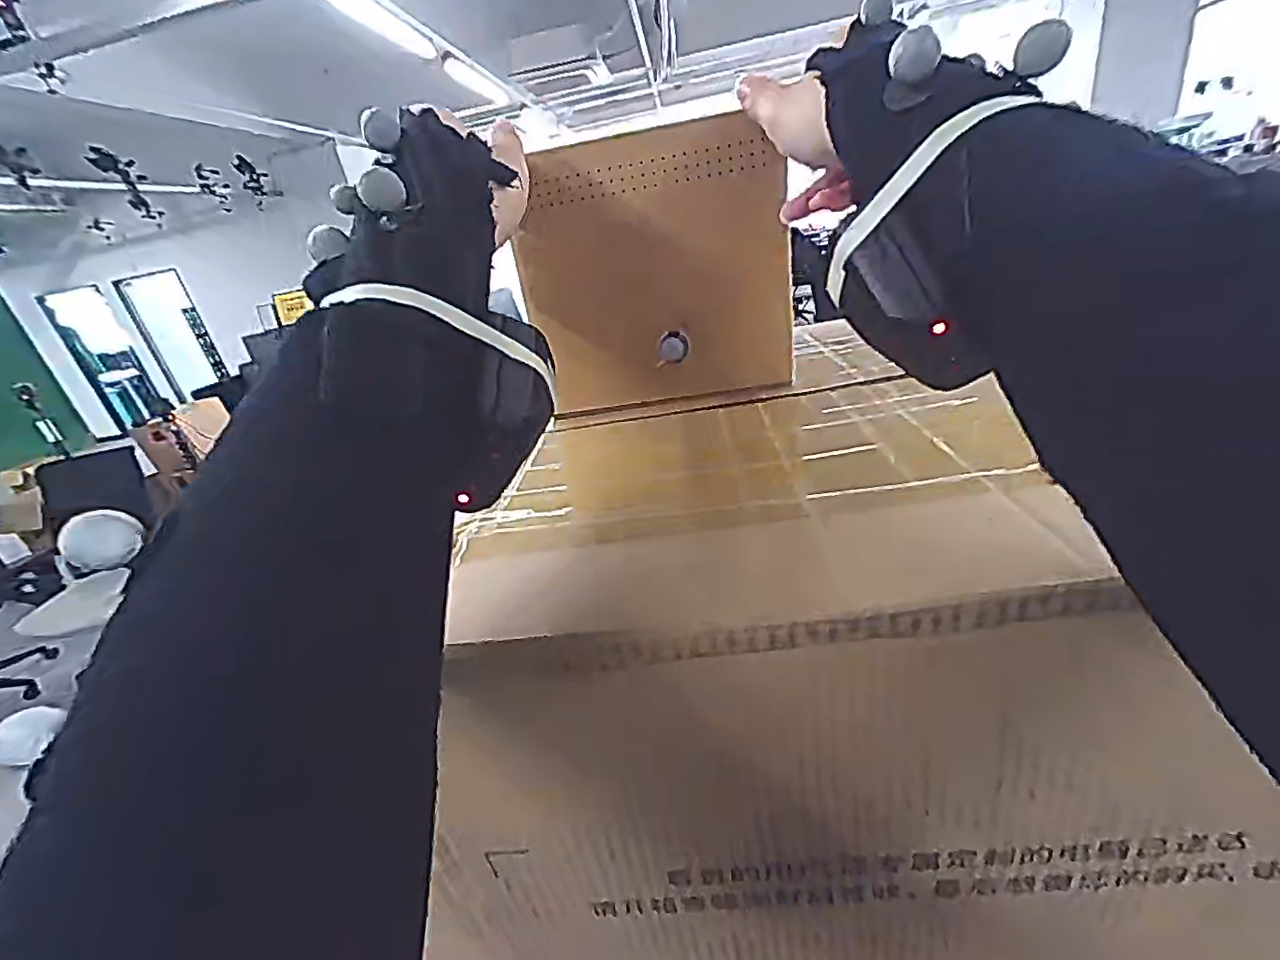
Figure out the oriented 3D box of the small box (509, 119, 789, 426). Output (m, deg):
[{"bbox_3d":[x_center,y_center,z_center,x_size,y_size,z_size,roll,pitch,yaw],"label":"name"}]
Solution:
[{"bbox_3d":[0.010,-0.156,0.423,0.179,0.176,0.168,-7,25,8],"label":"small box"}]
